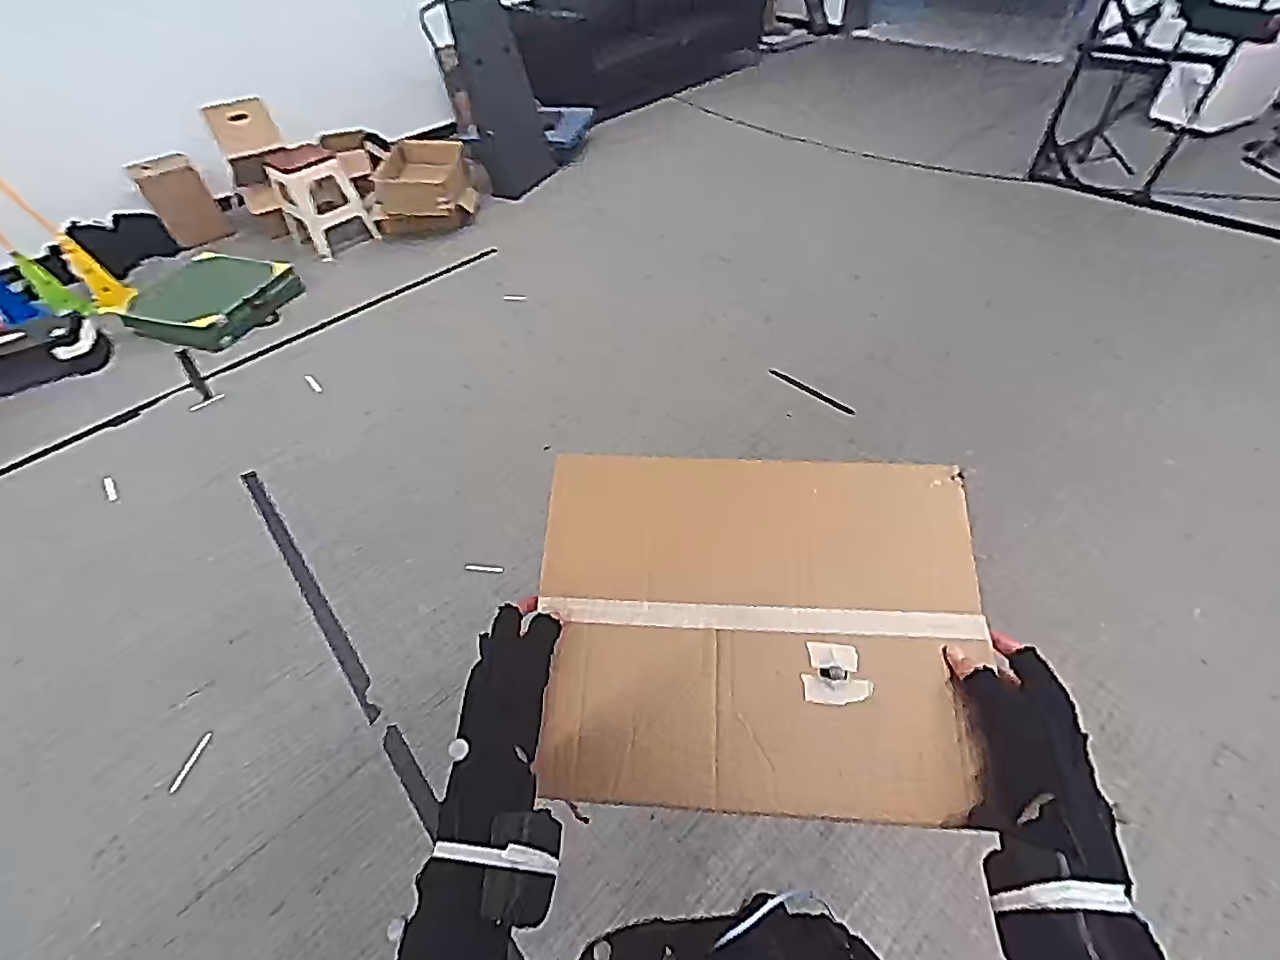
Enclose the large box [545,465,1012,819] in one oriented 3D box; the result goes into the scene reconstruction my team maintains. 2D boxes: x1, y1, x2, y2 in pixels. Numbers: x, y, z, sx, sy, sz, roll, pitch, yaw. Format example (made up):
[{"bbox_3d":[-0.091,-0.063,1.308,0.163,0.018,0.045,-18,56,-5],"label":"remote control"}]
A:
[{"bbox_3d":[0.126,0.185,0.650,0.408,0.320,0.320,2,71,4],"label":"large box"}]
